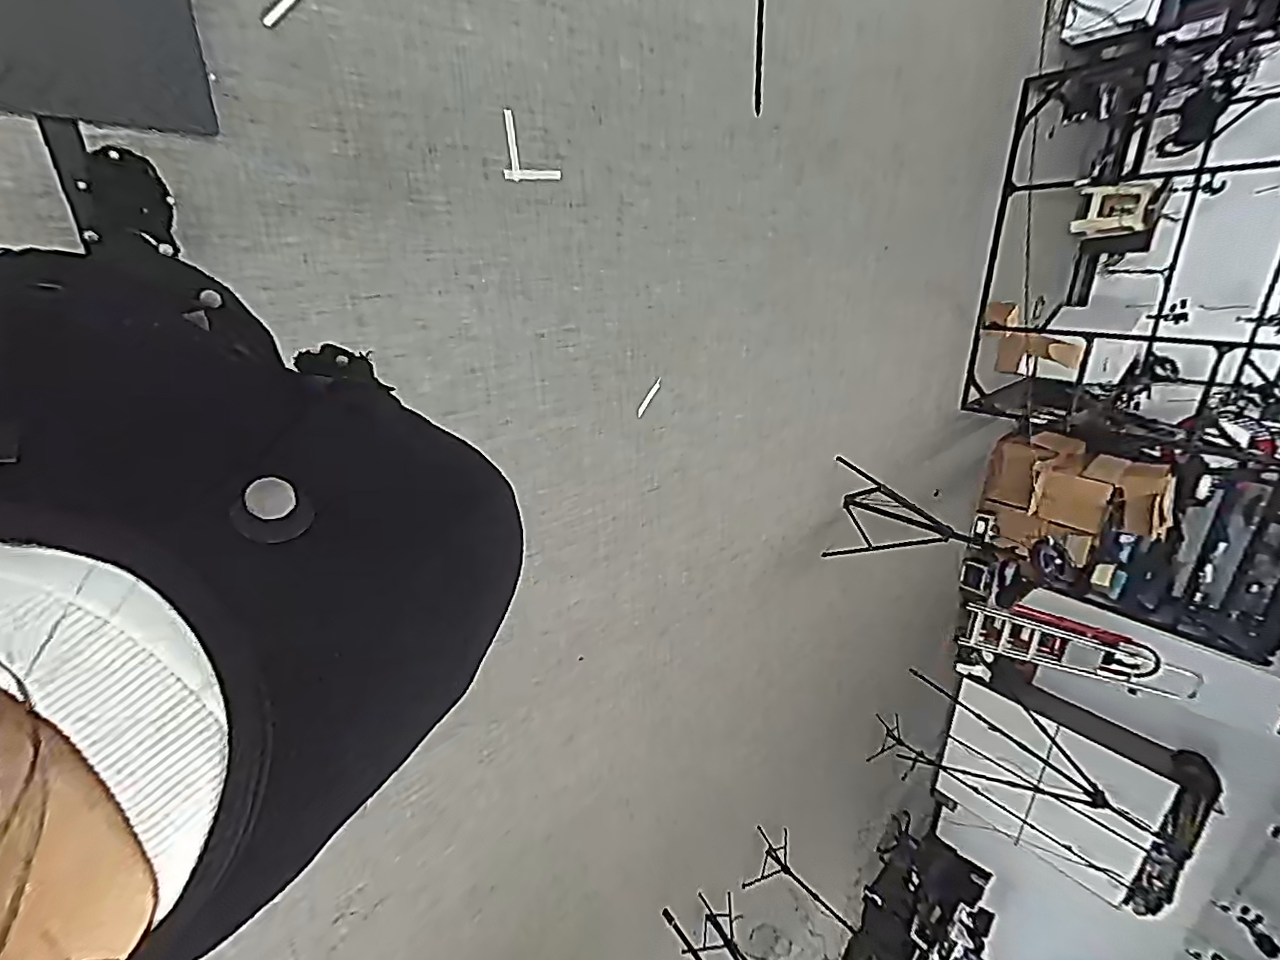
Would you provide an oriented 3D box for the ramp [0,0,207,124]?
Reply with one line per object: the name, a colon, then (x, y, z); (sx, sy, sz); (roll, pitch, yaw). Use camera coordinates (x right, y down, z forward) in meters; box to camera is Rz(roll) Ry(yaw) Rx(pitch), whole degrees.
ramp: (-0.945, -1.050, 0.646); (0.509, 0.206, 0.991); (-20, 119, -37)
